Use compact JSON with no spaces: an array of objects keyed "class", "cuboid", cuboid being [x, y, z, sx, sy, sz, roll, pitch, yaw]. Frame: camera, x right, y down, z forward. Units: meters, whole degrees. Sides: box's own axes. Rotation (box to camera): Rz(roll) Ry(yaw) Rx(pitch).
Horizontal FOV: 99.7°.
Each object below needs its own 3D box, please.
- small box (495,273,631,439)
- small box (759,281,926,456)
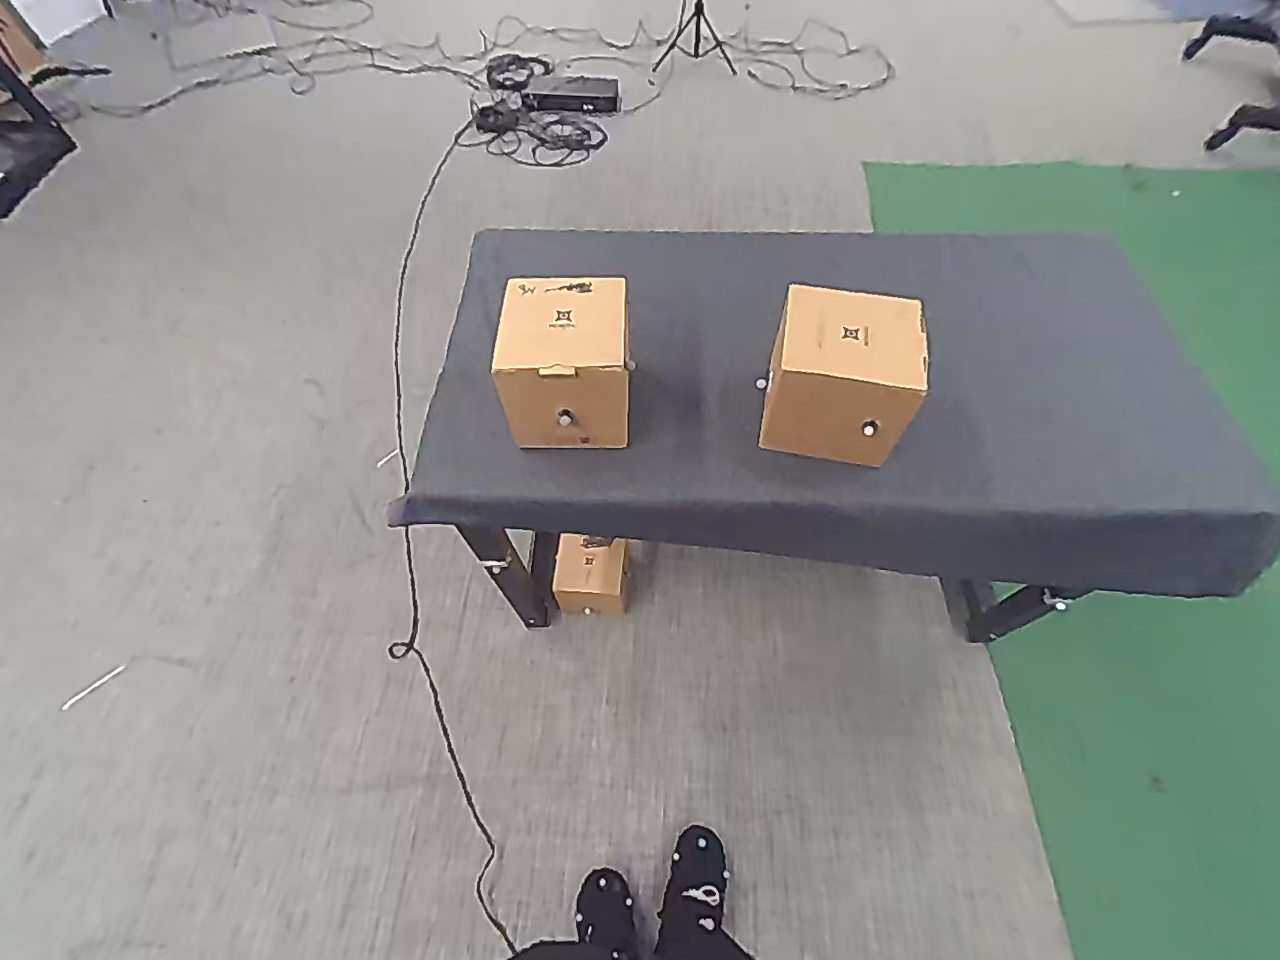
[{"class":"small box","cuboid":[-0.098,-0.171,0.779,0.168,0.176,0.179,0,59,0]},{"class":"small box","cuboid":[0.276,-0.151,0.765,0.179,0.176,0.168,9,58,7]}]
